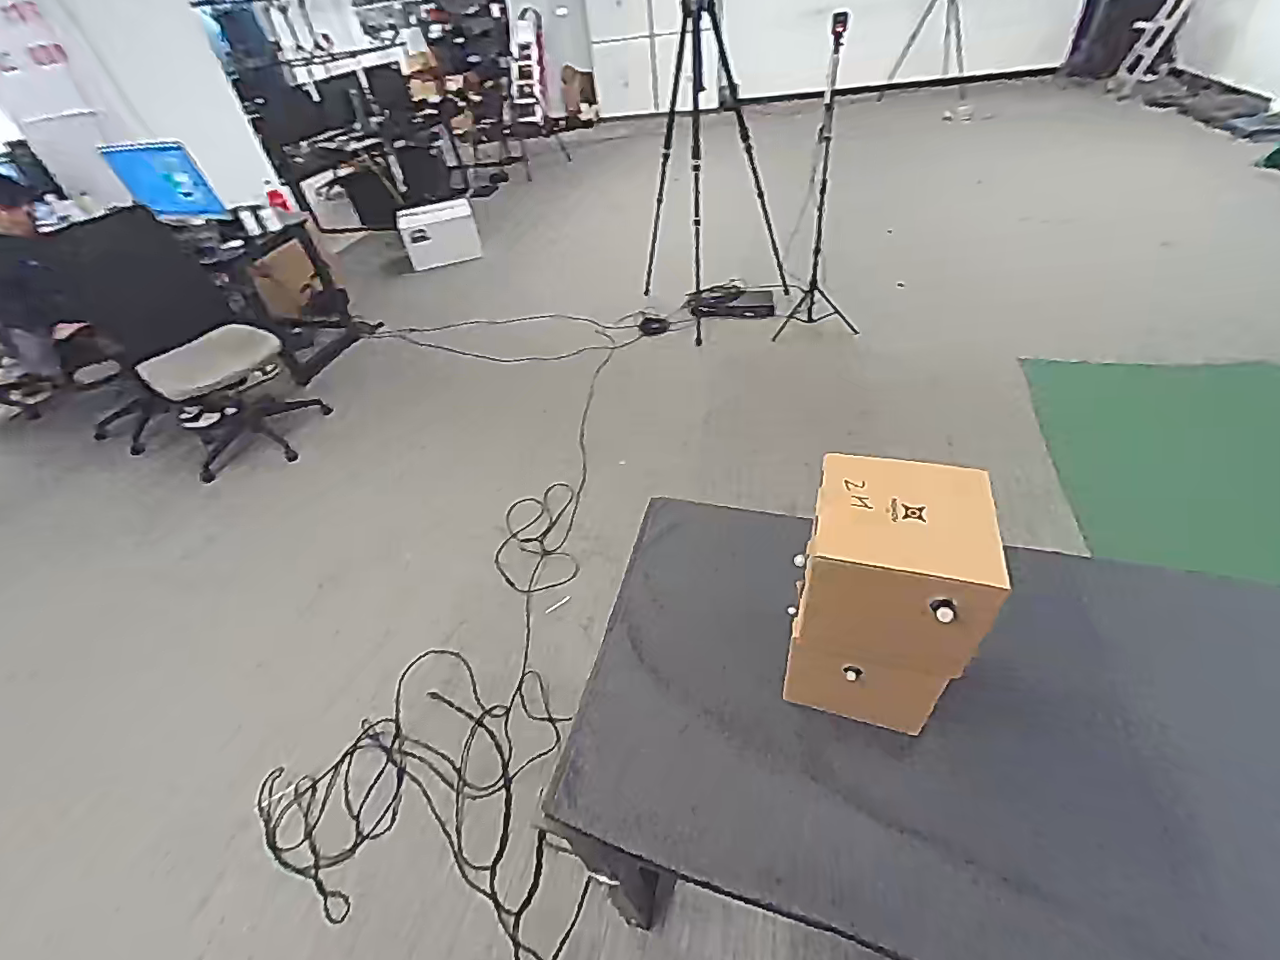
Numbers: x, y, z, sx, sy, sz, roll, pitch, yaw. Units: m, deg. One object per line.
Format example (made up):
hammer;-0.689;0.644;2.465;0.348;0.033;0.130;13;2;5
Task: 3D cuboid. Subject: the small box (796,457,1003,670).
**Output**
small box;0.288;0.097;0.632;0.179;0.176;0.168;8;43;17

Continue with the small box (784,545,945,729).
small box;0.301;0.215;0.747;0.179;0.176;0.168;9;44;18
